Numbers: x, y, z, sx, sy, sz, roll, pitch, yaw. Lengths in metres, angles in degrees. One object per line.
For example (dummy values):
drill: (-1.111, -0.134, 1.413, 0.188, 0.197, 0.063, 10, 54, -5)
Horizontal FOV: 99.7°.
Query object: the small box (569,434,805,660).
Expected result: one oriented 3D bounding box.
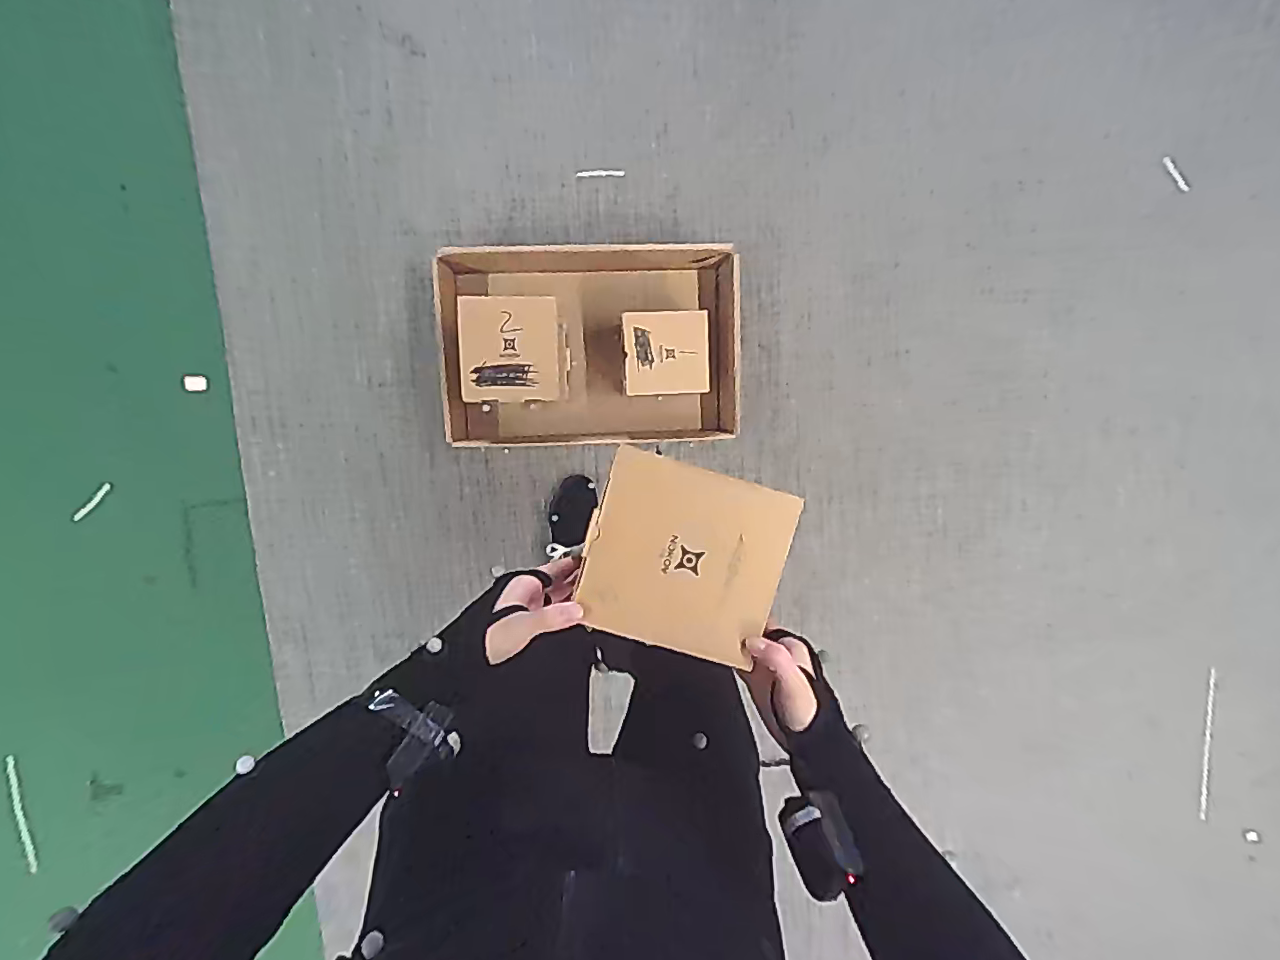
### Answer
small box: (0.038, 0.058, 0.556, 0.179, 0.176, 0.168, 16, 92, -4)
